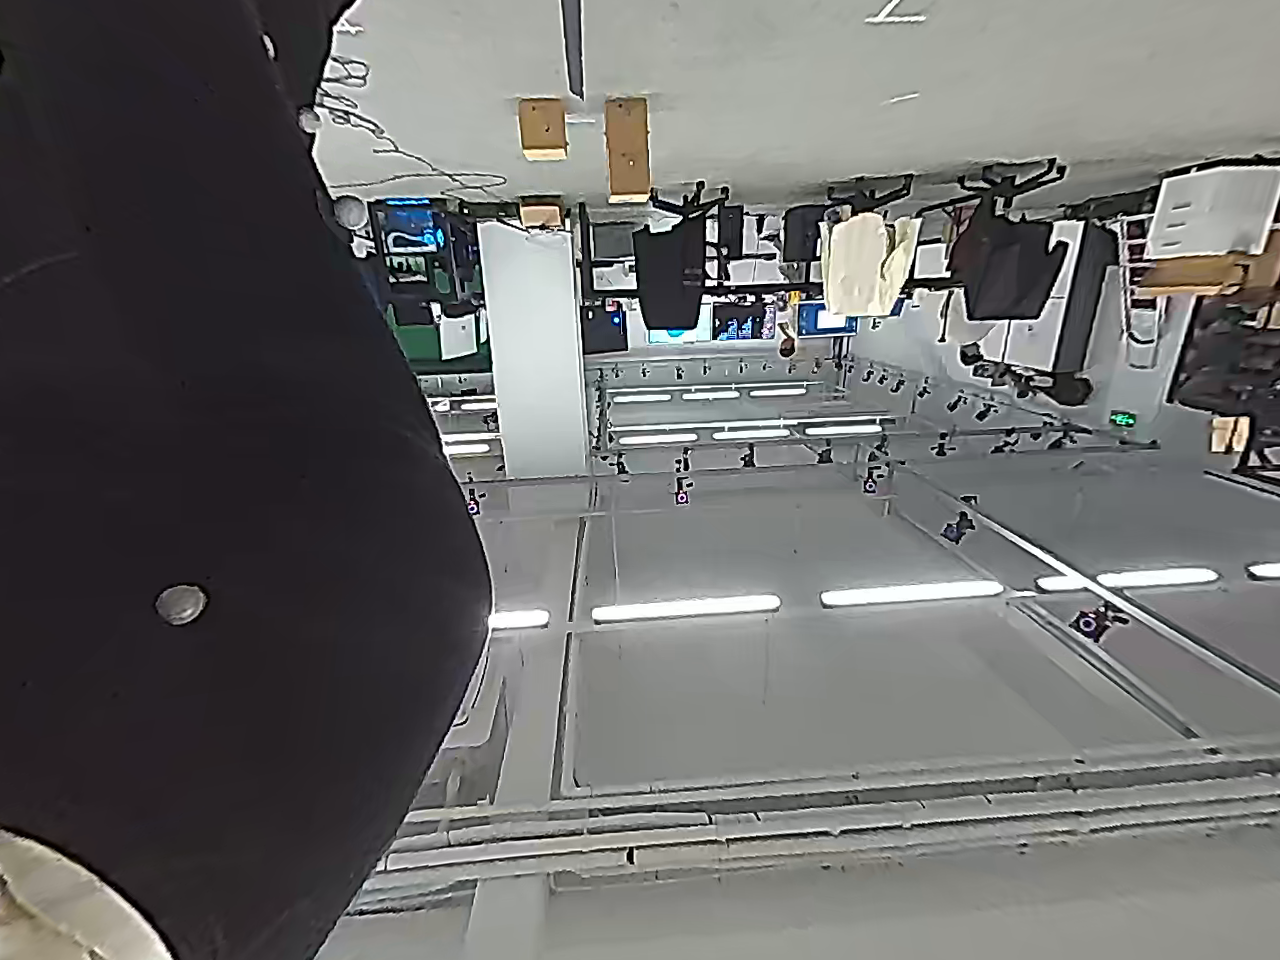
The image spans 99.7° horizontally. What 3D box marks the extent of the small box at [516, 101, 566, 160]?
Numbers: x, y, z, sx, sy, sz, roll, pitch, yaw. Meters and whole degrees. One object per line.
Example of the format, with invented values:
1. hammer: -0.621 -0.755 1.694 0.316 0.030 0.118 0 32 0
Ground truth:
1. small box: -0.393 -1.399 2.162 0.168 0.176 0.179 -3 -160 -1

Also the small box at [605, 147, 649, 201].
1. small box: -0.056 -1.267 2.242 0.168 0.176 0.179 -5 -161 -5
